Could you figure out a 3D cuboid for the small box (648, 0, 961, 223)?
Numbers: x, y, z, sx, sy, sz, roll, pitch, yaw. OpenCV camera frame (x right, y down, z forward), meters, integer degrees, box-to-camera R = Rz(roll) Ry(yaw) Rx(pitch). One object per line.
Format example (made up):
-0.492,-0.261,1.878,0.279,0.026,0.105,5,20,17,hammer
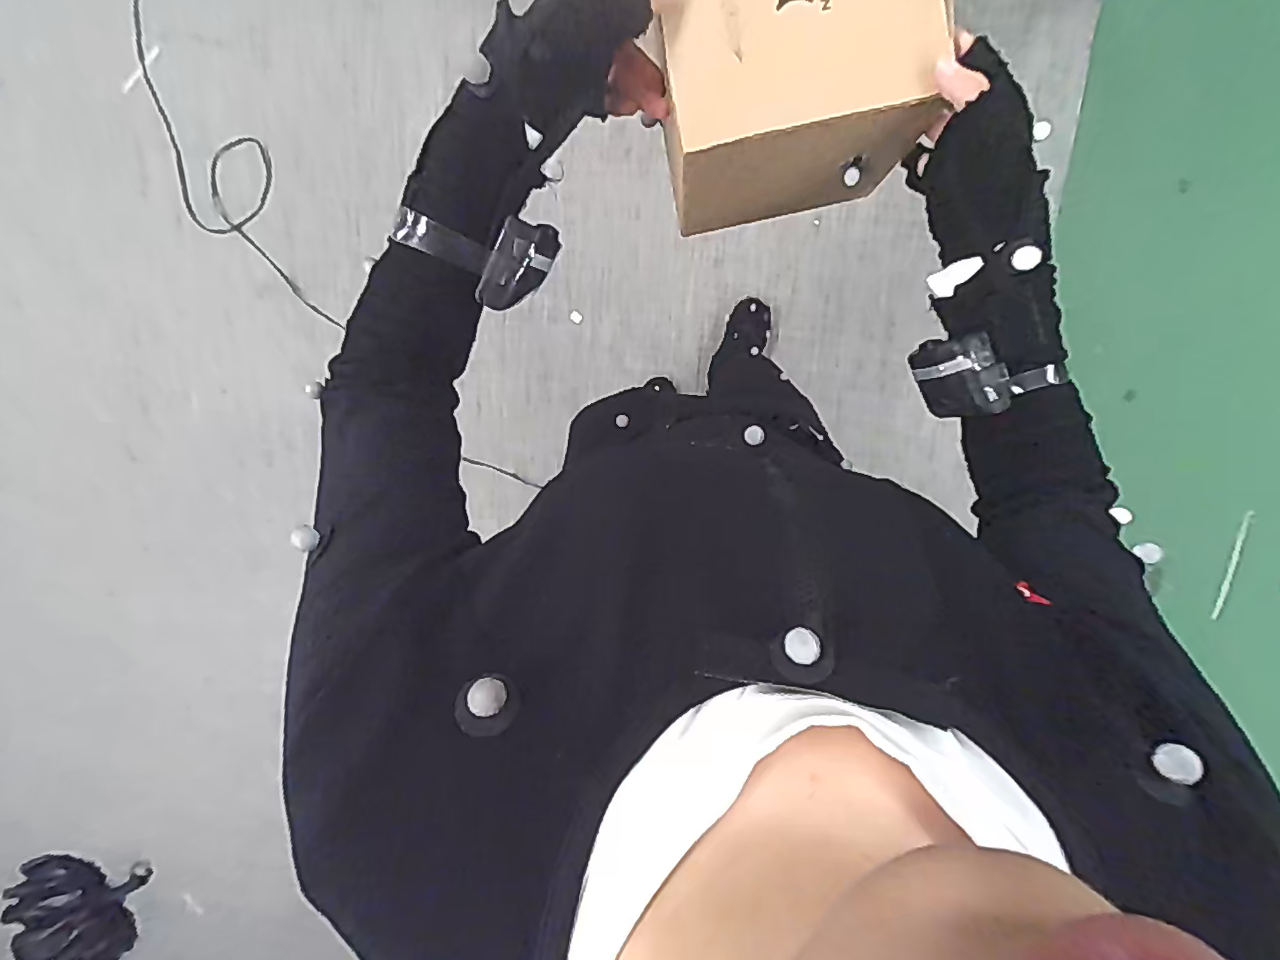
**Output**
0.102,-0.319,0.406,0.179,0.176,0.168,-11,95,6,small box
